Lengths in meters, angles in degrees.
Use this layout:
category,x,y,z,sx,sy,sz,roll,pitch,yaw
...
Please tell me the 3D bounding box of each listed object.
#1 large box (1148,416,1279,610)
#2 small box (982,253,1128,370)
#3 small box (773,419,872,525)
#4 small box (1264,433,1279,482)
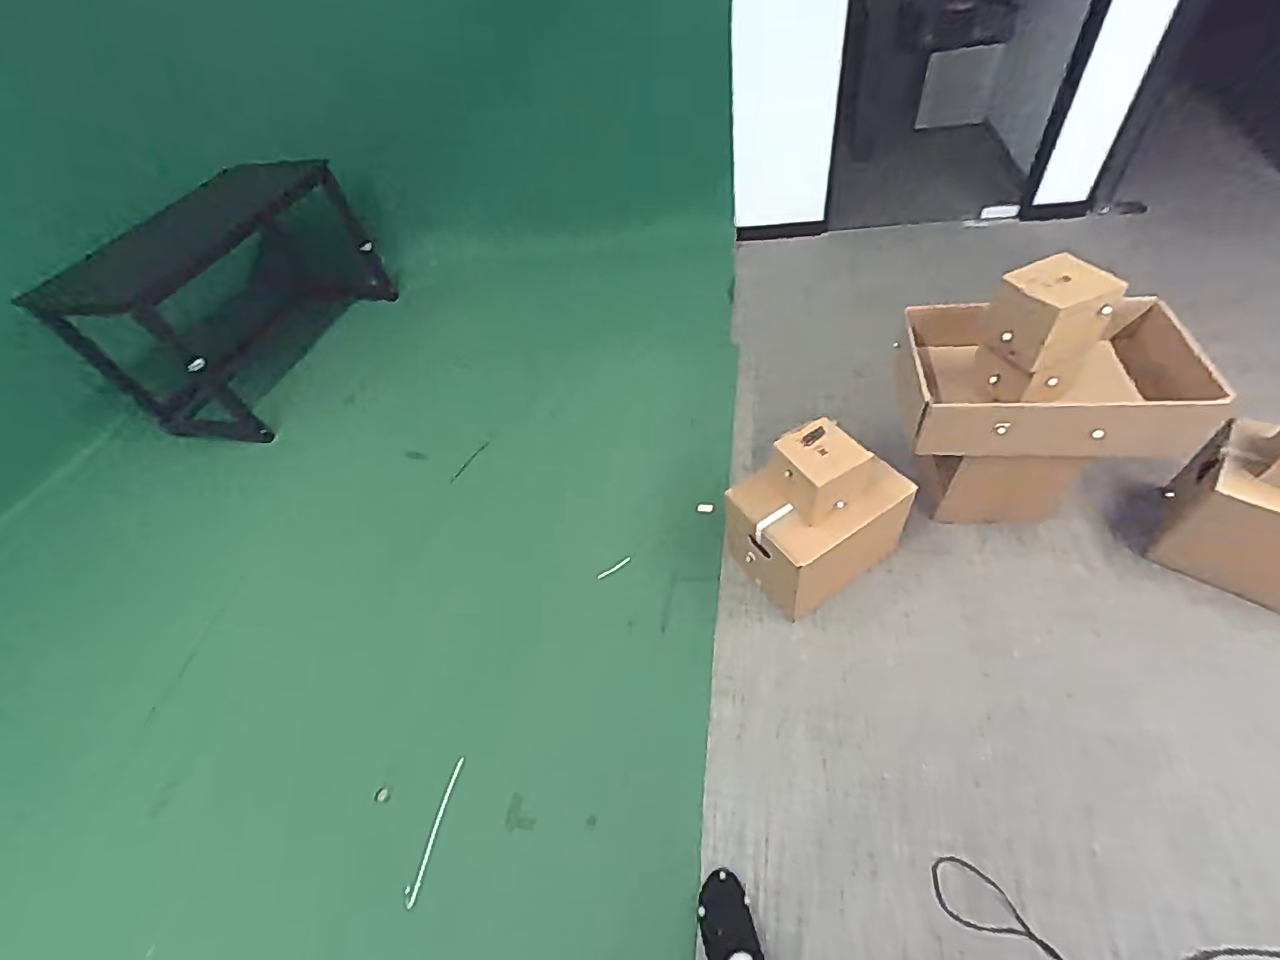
category,x,y,z,sx,sy,sz,roll,pitch,yaw
large box,1.635,0.105,1.367,0.408,0.320,0.320,29,61,29
small box,0.933,-0.383,1.237,0.179,0.176,0.168,-21,49,-6
small box,0.455,-0.018,1.378,0.168,0.176,0.179,-27,51,-11
small box,1.572,-0.075,1.208,0.168,0.176,0.179,33,62,32
